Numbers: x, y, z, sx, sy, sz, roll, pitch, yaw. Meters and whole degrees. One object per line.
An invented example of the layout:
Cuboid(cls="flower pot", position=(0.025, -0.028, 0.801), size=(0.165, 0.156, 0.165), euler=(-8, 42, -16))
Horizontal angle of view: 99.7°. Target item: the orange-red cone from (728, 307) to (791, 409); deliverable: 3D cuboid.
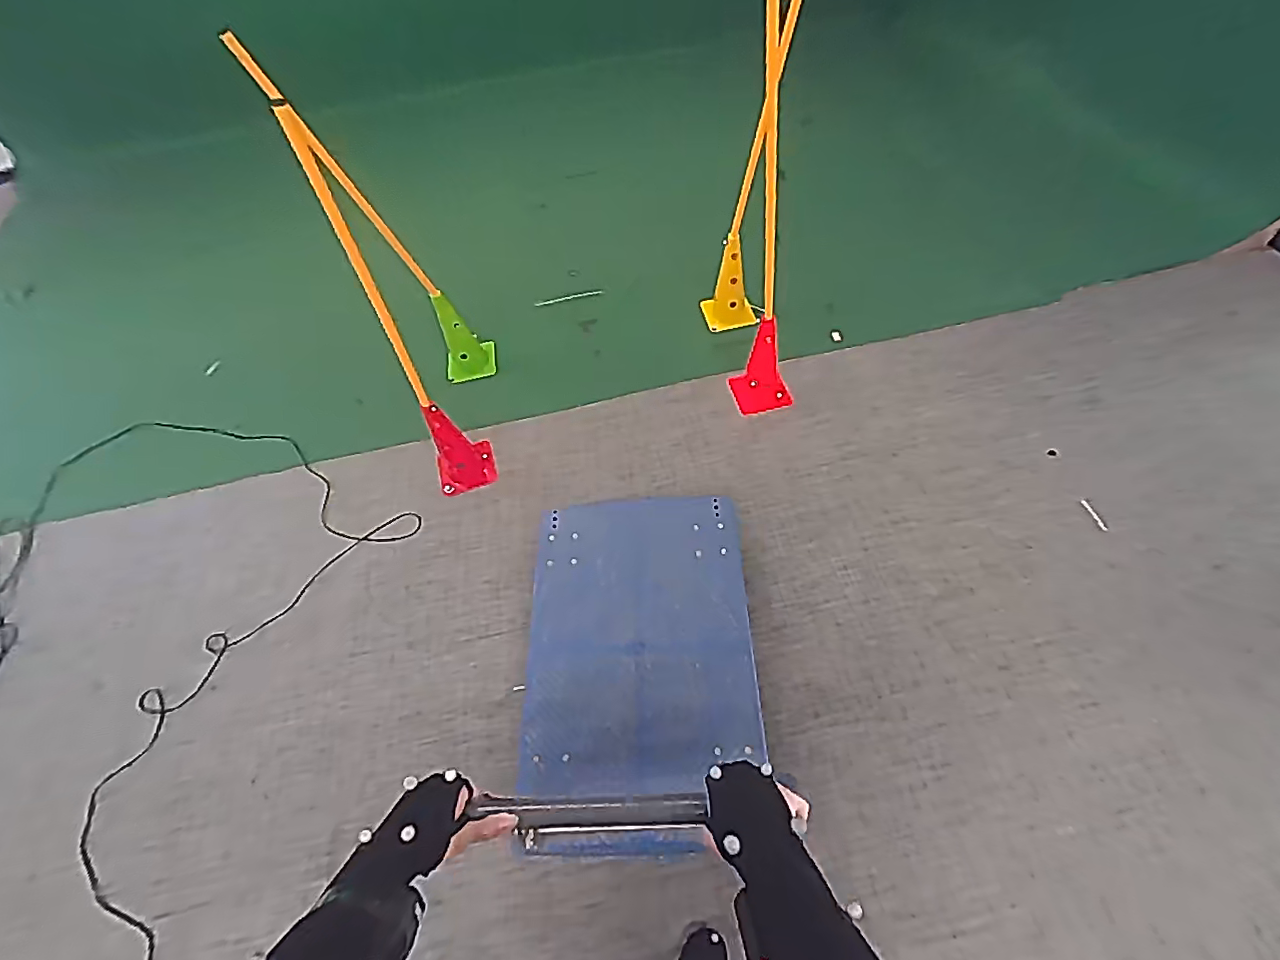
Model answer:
Cuboid(cls="orange-red cone", position=(0.427, -0.445, 1.874), size=(0.198, 0.360, 0.199), euler=(-12, 55, -2))

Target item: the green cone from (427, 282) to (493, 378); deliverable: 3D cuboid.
Cuboid(cls="green cone", position=(-0.729, -0.605, 2.104), size=(0.200, 0.368, 0.202), euler=(-13, 56, -1))
